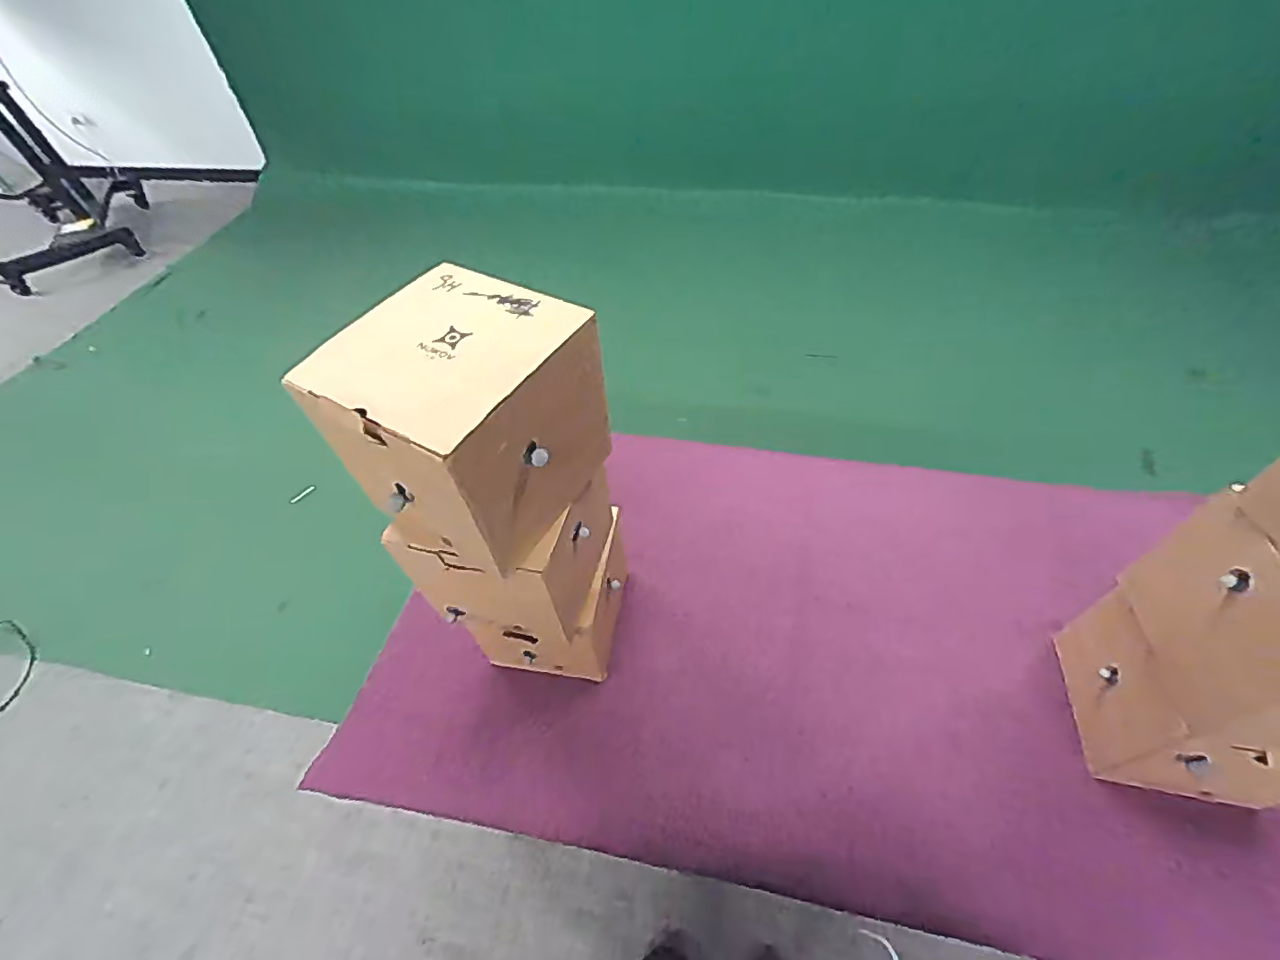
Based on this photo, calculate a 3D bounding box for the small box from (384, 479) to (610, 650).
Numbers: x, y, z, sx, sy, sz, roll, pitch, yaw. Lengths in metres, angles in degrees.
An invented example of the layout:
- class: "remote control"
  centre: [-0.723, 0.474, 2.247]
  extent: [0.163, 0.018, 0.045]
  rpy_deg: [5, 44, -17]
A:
- class: "small box"
  centre: [-0.137, 0.066, 0.600]
  extent: [0.168, 0.176, 0.179]
  rpy_deg: [10, 53, 11]

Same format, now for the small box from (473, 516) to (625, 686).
- class: "small box"
  centre: [-0.117, 0.157, 0.736]
  extent: [0.168, 0.176, 0.179]
  rpy_deg: [6, 52, 8]

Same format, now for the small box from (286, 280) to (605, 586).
- class: "small box"
  centre: [-0.144, -0.037, 0.473]
  extent: [0.168, 0.176, 0.179]
  rpy_deg: [25, 59, 20]

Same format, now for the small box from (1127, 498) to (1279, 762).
- class: "small box"
  centre: [0.601, 0.141, 0.484]
  extent: [0.168, 0.176, 0.179]
  rpy_deg: [4, 51, 8]
